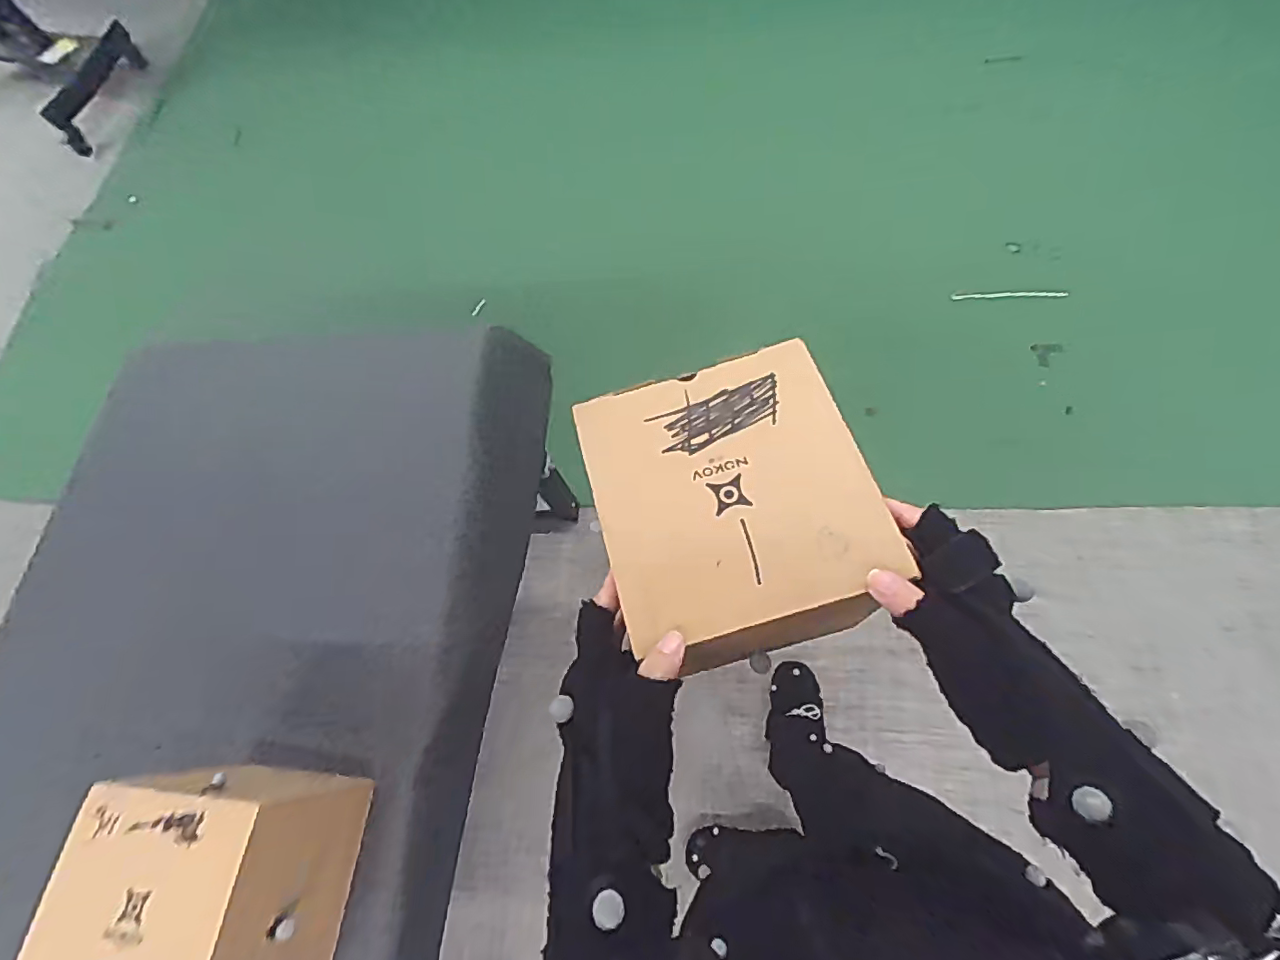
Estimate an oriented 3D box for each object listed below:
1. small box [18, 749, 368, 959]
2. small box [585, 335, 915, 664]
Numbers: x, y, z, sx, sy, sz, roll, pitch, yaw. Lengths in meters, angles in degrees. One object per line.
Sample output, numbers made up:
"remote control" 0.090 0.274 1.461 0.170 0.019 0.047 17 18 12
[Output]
"small box" -0.387 0.361 0.500 0.168 0.176 0.179 2 68 9
"small box" 0.067 0.027 0.410 0.168 0.176 0.179 -16 66 2
